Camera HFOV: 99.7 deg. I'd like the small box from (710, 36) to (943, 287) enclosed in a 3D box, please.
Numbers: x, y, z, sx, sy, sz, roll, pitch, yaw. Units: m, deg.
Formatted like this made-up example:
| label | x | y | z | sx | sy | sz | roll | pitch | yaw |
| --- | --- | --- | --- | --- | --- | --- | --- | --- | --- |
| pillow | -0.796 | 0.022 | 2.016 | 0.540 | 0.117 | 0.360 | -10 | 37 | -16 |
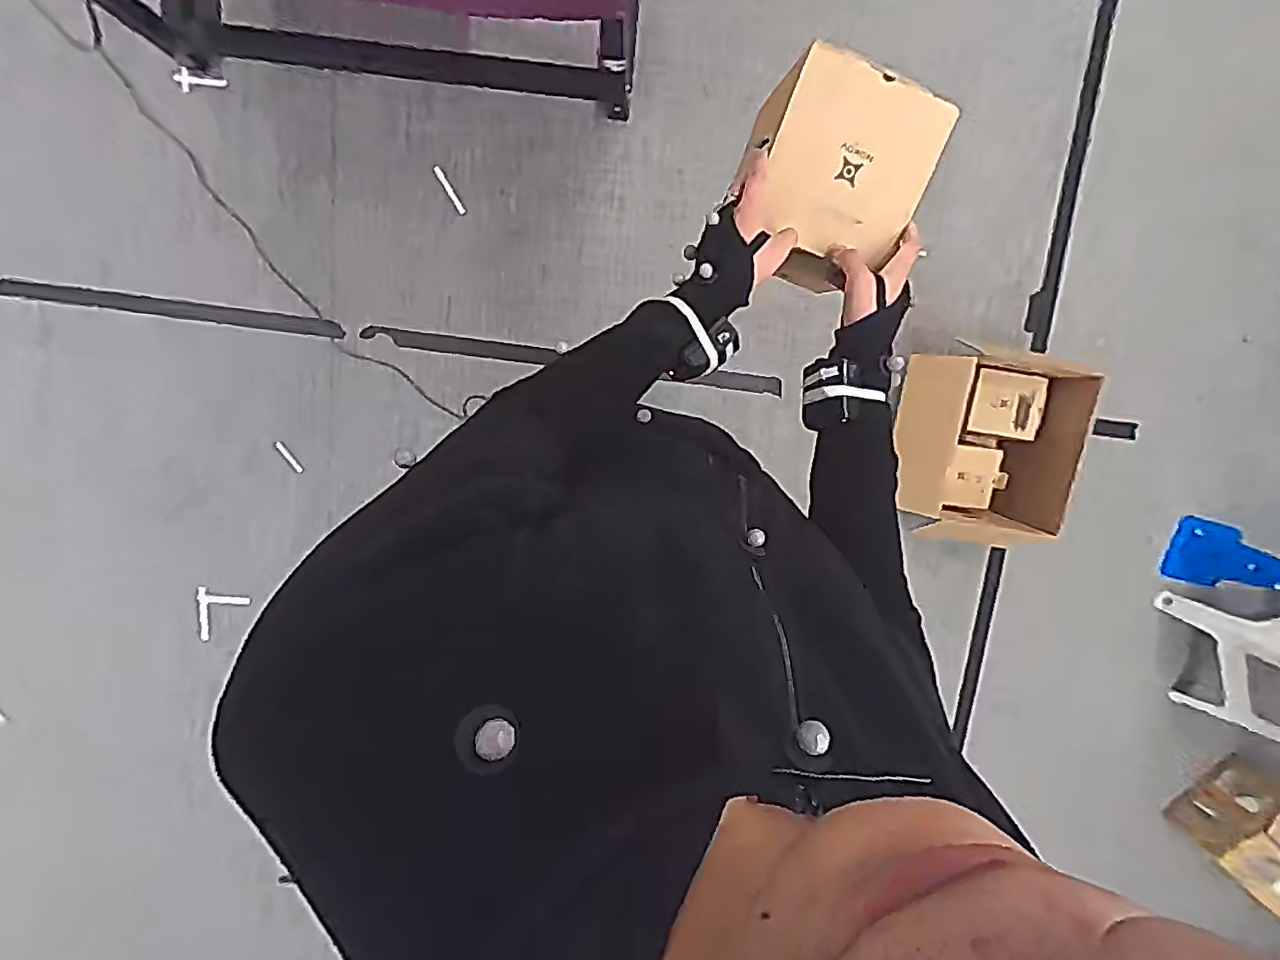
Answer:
| label | x | y | z | sx | sy | sz | roll | pitch | yaw |
| --- | --- | --- | --- | --- | --- | --- | --- | --- | --- |
| small box | 0.195 | -0.341 | 0.624 | 0.168 | 0.176 | 0.179 | 18 | 102 | -9 |
